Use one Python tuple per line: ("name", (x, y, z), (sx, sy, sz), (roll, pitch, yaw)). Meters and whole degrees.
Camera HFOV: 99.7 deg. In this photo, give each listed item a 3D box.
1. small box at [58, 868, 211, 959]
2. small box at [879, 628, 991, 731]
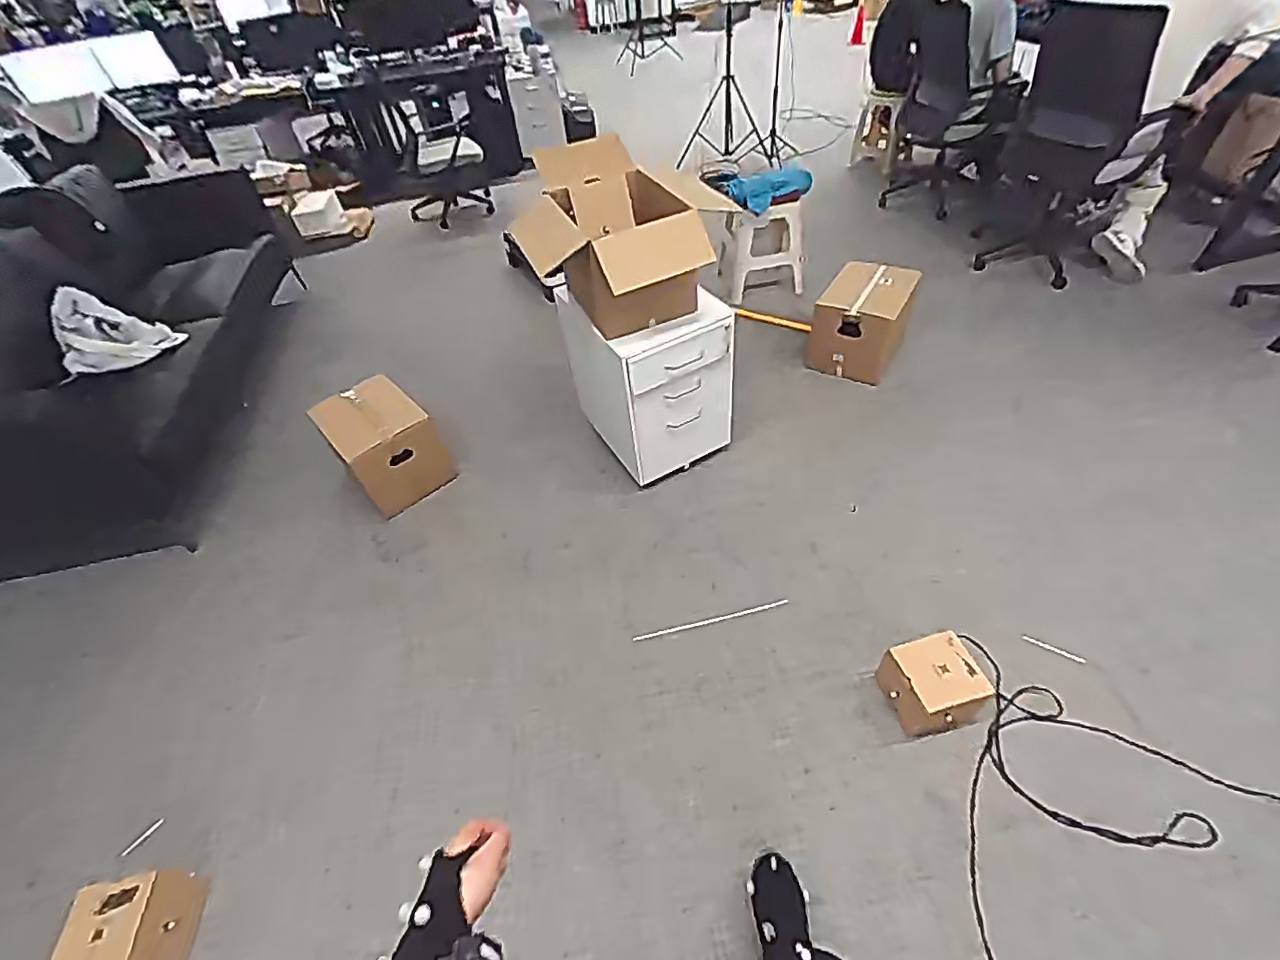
("small box", (-1.089, 0.977, 1.176), (0.168, 0.176, 0.179), (-12, 48, -3))
("small box", (0.718, 0.502, 1.346), (0.179, 0.176, 0.168), (-15, 48, -4))
